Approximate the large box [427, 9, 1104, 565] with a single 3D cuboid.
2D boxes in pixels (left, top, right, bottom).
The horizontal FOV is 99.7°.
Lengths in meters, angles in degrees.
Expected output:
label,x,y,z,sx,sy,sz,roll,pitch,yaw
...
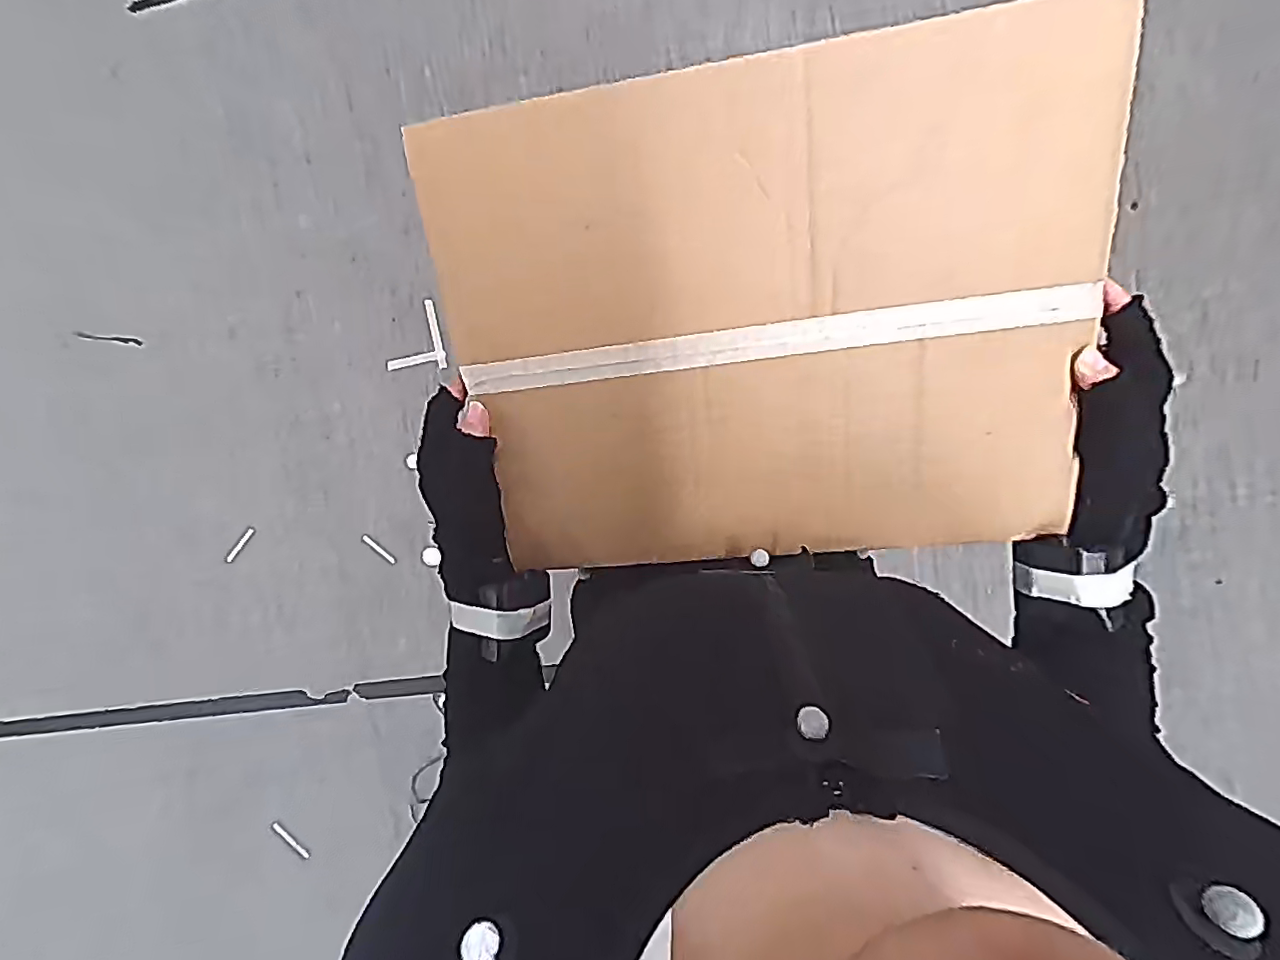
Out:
label,x,y,z,sx,sy,sz,roll,pitch,yaw
large box,0.091,-0.142,0.507,0.408,0.320,0.320,-5,111,8
